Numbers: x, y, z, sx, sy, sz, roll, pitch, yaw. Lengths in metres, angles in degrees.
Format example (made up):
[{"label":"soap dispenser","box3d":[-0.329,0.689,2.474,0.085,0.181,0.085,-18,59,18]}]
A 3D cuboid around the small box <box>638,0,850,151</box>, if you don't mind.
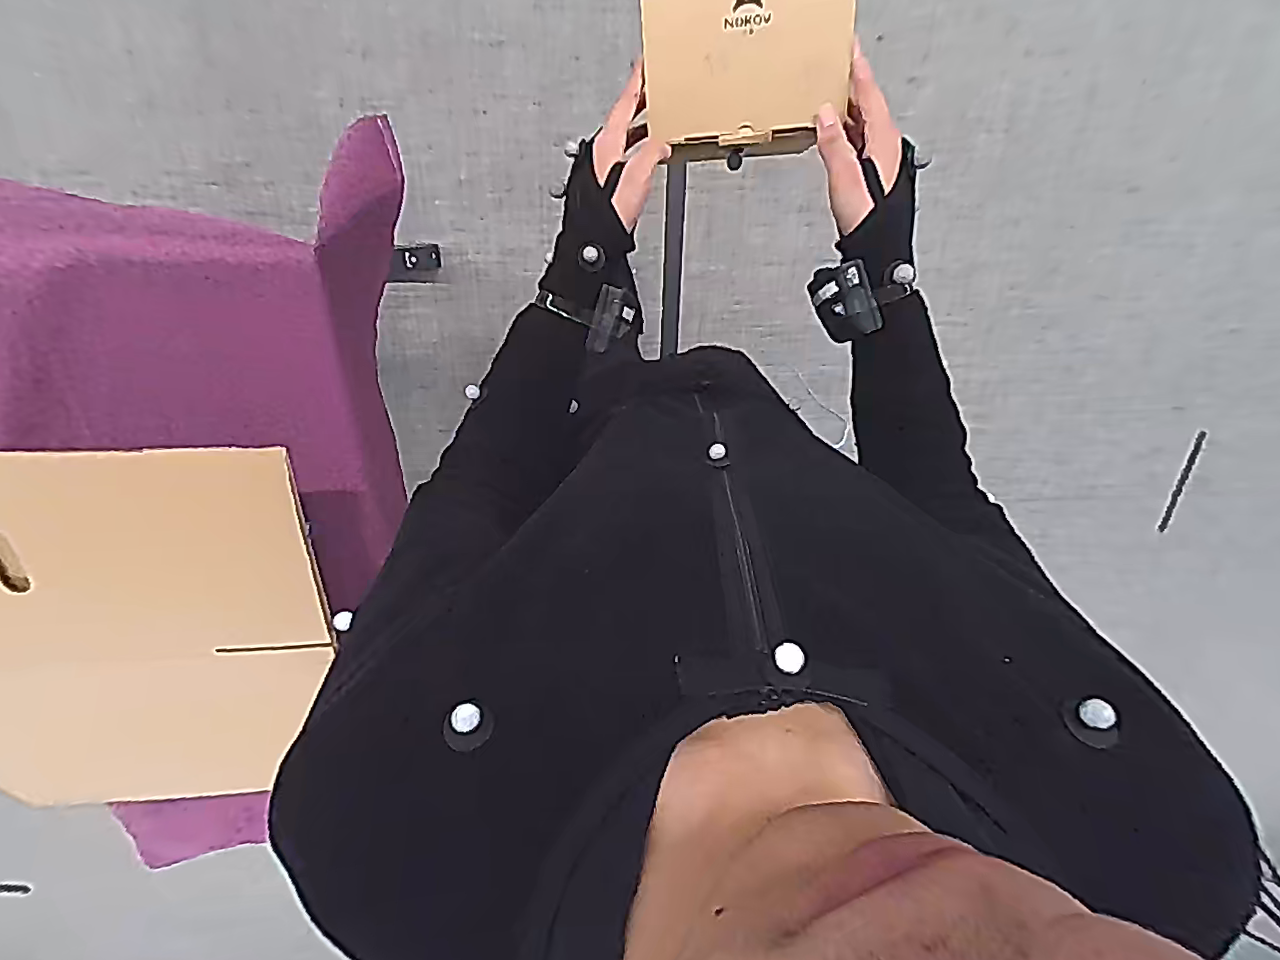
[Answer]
[{"label":"small box","box3d":[0.086,-0.407,0.491,0.168,0.176,0.179,-2,116,5]}]
